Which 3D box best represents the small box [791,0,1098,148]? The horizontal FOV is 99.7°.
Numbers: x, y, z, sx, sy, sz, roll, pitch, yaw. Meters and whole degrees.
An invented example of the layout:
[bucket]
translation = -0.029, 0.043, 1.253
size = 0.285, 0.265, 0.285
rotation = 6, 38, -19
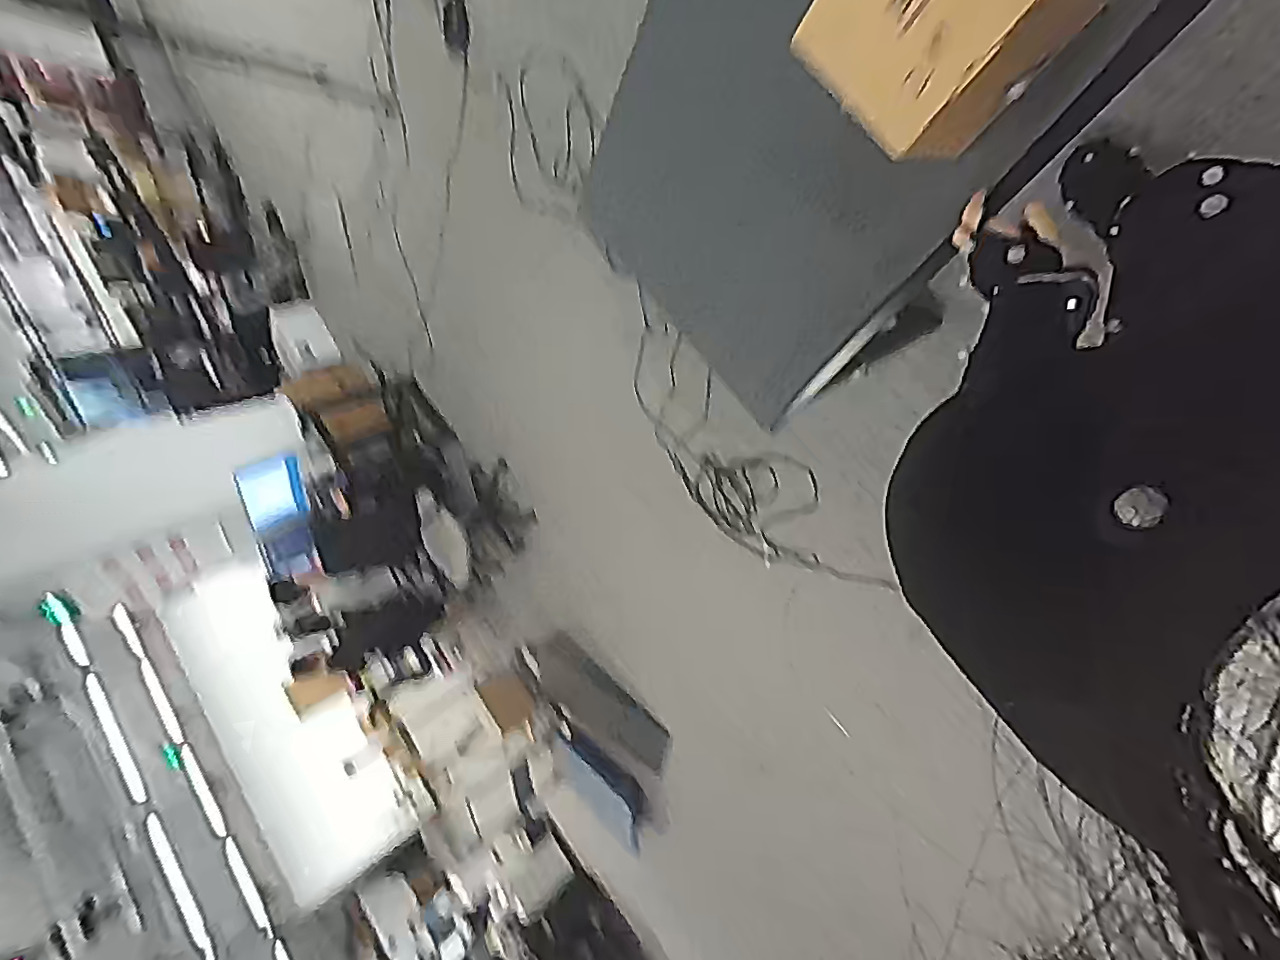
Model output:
[small box]
translation = 0.291, -0.451, 0.523
size = 0.179, 0.176, 0.168
rotation = 54, 141, 10
